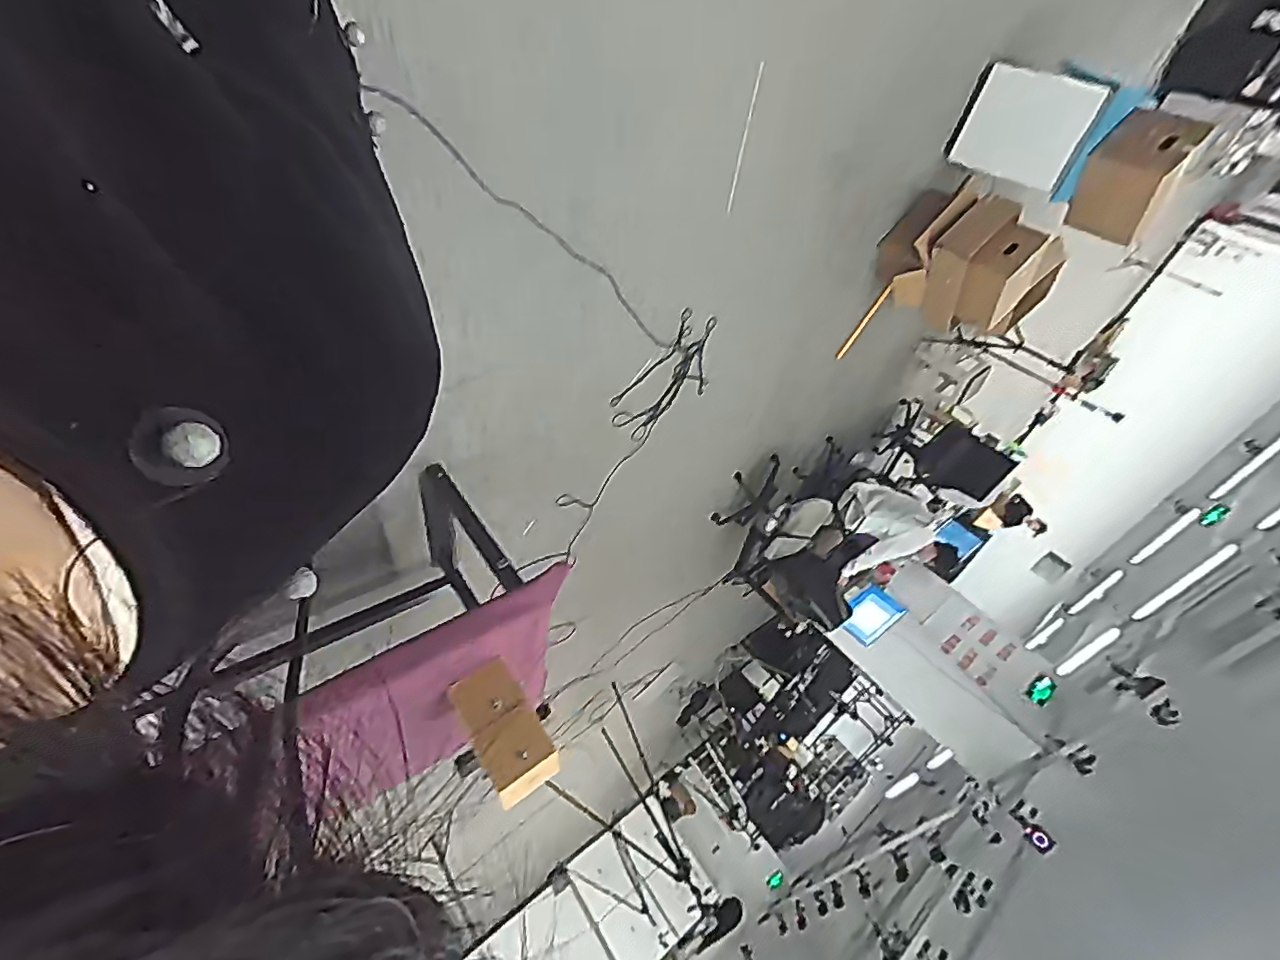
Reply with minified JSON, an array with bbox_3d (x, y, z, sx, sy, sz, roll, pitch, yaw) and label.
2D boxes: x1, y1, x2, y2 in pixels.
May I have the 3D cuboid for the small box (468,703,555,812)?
[{"bbox_3d":[-0.351,0.747,1.466,0.179,0.176,0.168,-28,144,-28],"label":"small box"}]

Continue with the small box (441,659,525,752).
[{"bbox_3d":[-0.447,0.651,1.555,0.179,0.176,0.168,-25,143,-29],"label":"small box"}]
